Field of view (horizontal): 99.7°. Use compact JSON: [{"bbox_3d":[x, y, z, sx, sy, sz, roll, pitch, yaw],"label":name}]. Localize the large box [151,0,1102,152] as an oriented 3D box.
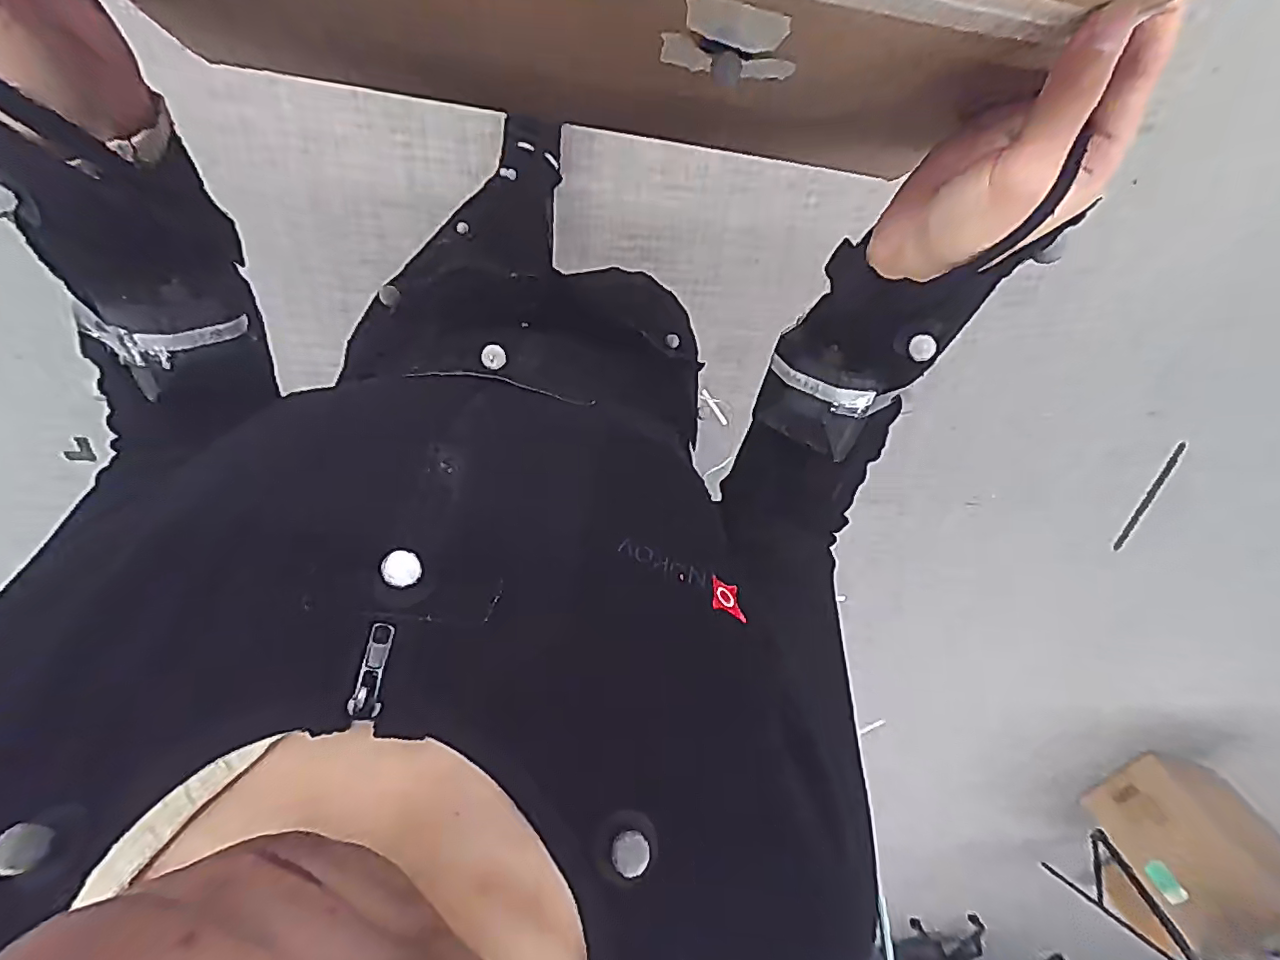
[{"bbox_3d":[-0.013,-0.340,0.144,0.408,0.320,0.320,5,102,-6],"label":"large box"}]
